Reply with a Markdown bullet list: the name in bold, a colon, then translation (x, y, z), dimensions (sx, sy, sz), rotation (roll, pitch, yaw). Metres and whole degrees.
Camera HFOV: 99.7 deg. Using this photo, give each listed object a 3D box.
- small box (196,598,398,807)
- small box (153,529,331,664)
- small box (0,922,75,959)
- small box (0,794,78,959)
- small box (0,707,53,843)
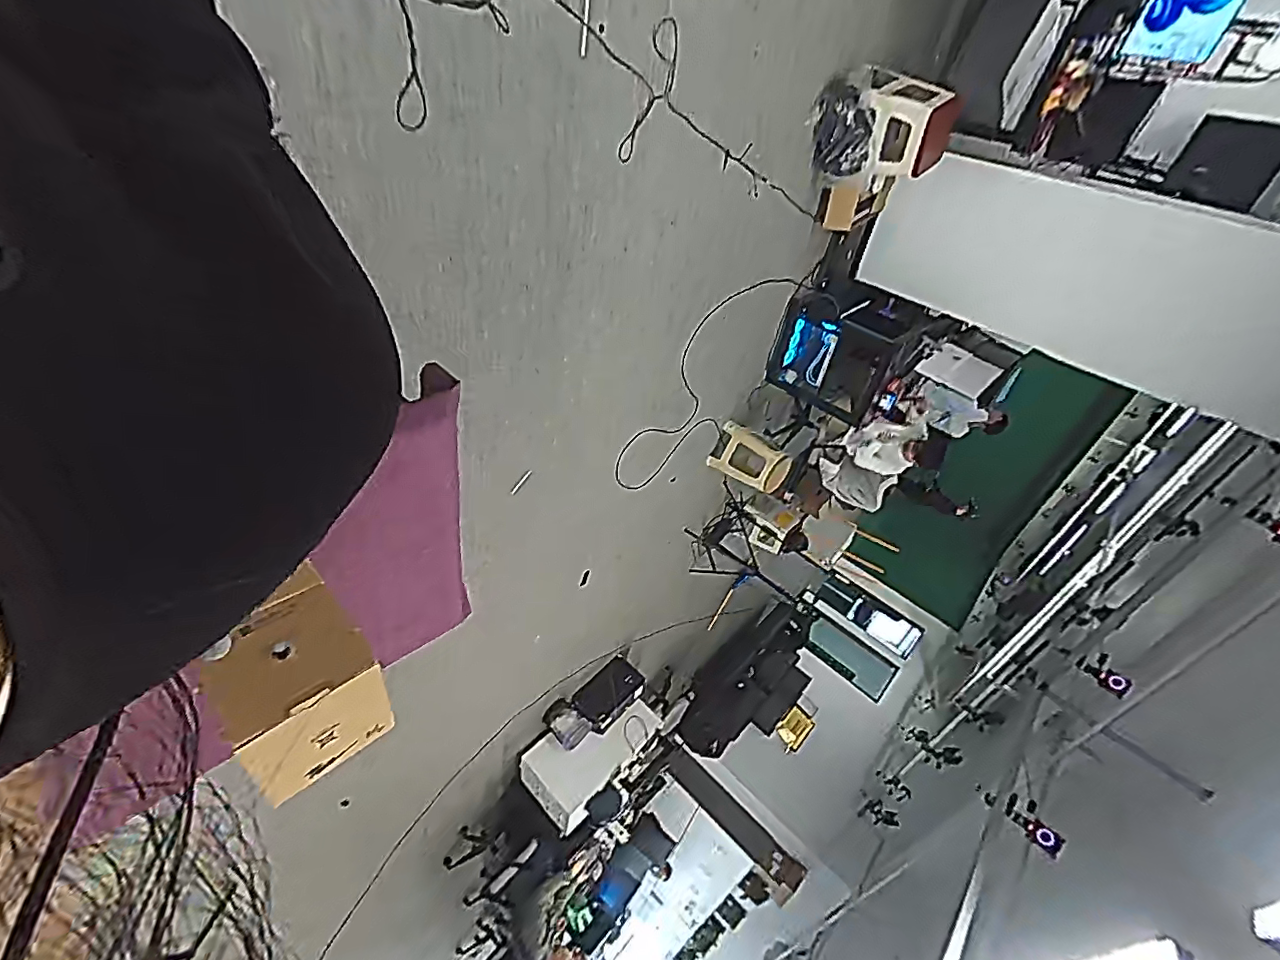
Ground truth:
- **small box**: translation (-0.458, 0.286, 0.733), dimensions (0.168, 0.176, 0.179), rotation (-29, 144, -39)
- **small box**: translation (-0.576, 0.196, 0.803), dimensions (0.168, 0.176, 0.179), rotation (-27, 143, -41)
- **small box**: translation (-0.583, 0.515, 0.437), dimensions (0.168, 0.176, 0.179), rotation (-28, 143, -40)
- **small box**: translation (-0.703, 0.448, 0.526), dimensions (0.168, 0.176, 0.179), rotation (-26, 141, -43)
- **small box**: translation (-0.819, 0.360, 0.602), dimensions (0.168, 0.176, 0.179), rotation (-25, 141, -43)
